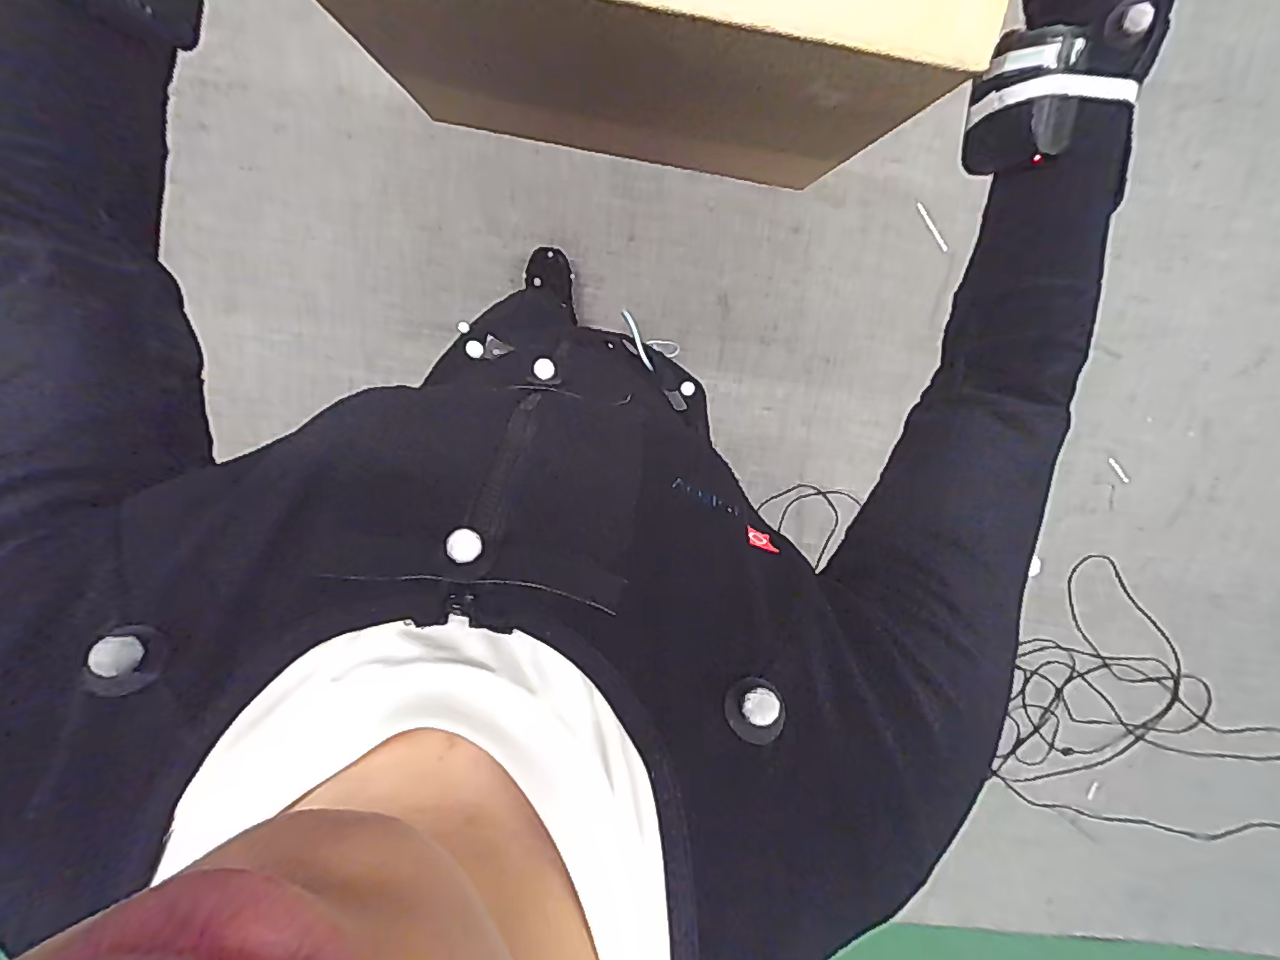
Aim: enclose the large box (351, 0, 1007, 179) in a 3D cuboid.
[{"bbox_3d":[0.018,-0.452,0.393,0.408,0.320,0.320,7,107,-6],"label":"large box"}]
